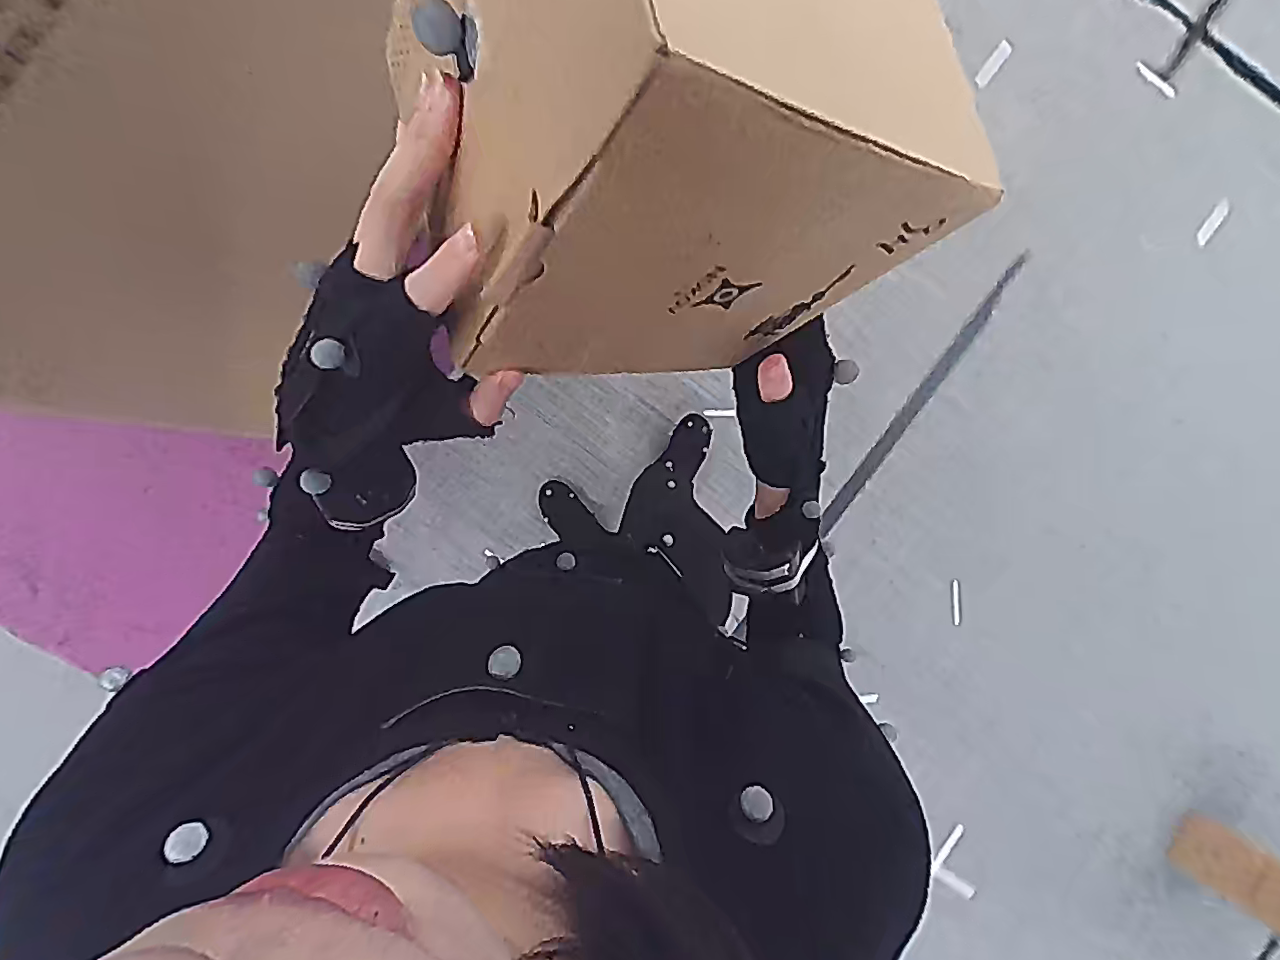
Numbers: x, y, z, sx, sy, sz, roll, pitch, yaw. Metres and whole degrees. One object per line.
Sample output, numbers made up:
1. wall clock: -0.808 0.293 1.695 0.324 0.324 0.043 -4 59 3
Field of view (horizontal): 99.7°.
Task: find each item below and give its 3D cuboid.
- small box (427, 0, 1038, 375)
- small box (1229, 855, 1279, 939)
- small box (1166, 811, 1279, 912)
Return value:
1. small box: 0.021 -0.160 0.232 0.179 0.168 0.176 -6 79 -35
2. small box: 1.669 1.095 1.357 0.179 0.176 0.168 32 89 -3
3. small box: 1.651 1.085 1.519 0.168 0.176 0.179 28 87 -3
